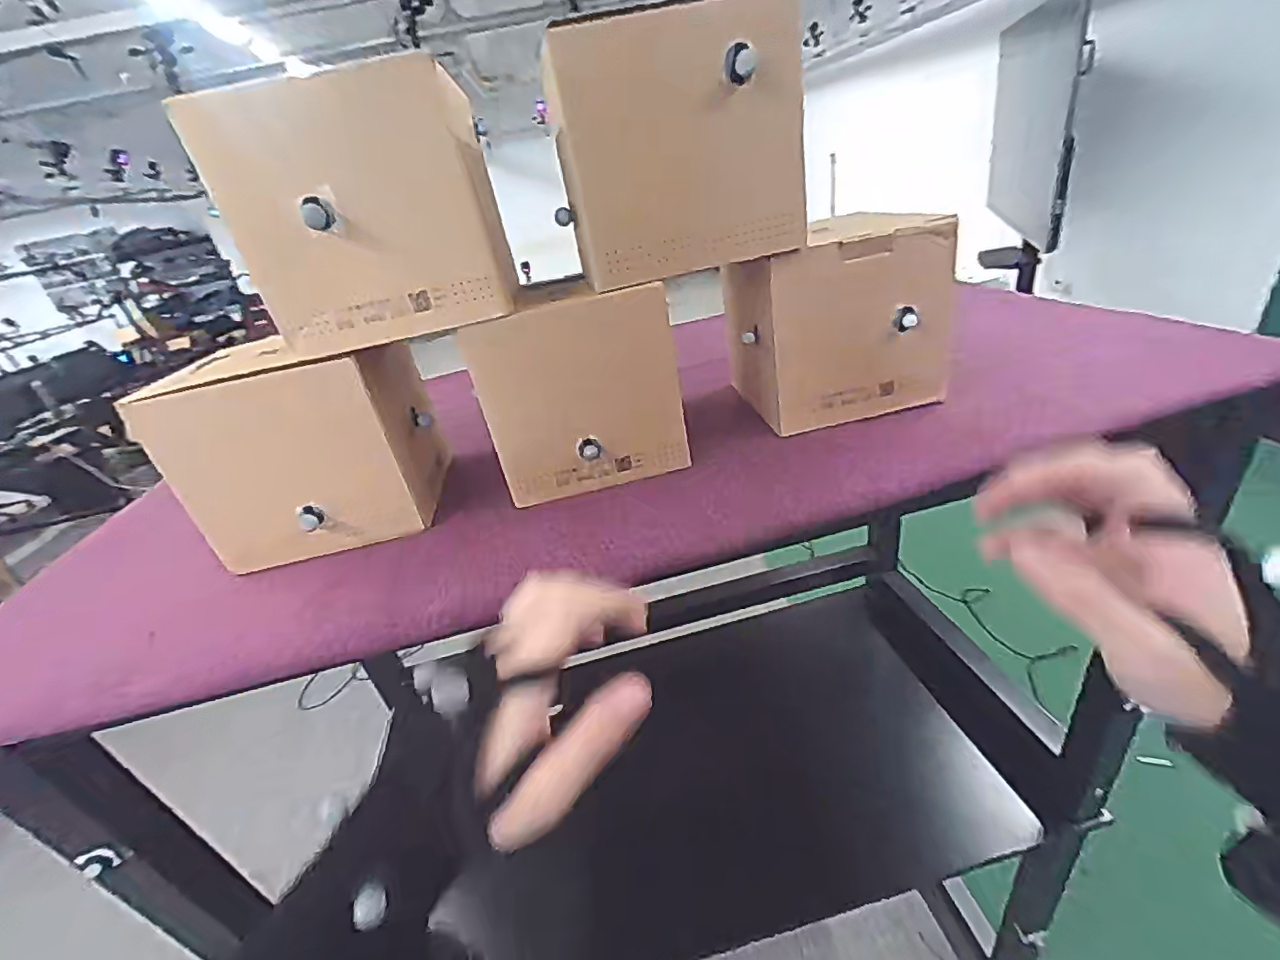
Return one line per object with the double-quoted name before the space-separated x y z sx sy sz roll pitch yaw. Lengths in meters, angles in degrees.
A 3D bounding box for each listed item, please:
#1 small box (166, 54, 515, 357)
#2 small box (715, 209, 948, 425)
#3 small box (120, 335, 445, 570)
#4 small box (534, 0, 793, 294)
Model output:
"small box" -0.209 -0.211 0.444 0.168 0.176 0.179 -14 28 -2
"small box" 0.183 -0.166 0.553 0.168 0.176 0.179 -12 27 -1
"small box" -0.304 -0.041 0.516 0.179 0.176 0.168 -13 29 -4
"small box" 0.018 -0.271 0.459 0.179 0.176 0.168 -14 28 -3
